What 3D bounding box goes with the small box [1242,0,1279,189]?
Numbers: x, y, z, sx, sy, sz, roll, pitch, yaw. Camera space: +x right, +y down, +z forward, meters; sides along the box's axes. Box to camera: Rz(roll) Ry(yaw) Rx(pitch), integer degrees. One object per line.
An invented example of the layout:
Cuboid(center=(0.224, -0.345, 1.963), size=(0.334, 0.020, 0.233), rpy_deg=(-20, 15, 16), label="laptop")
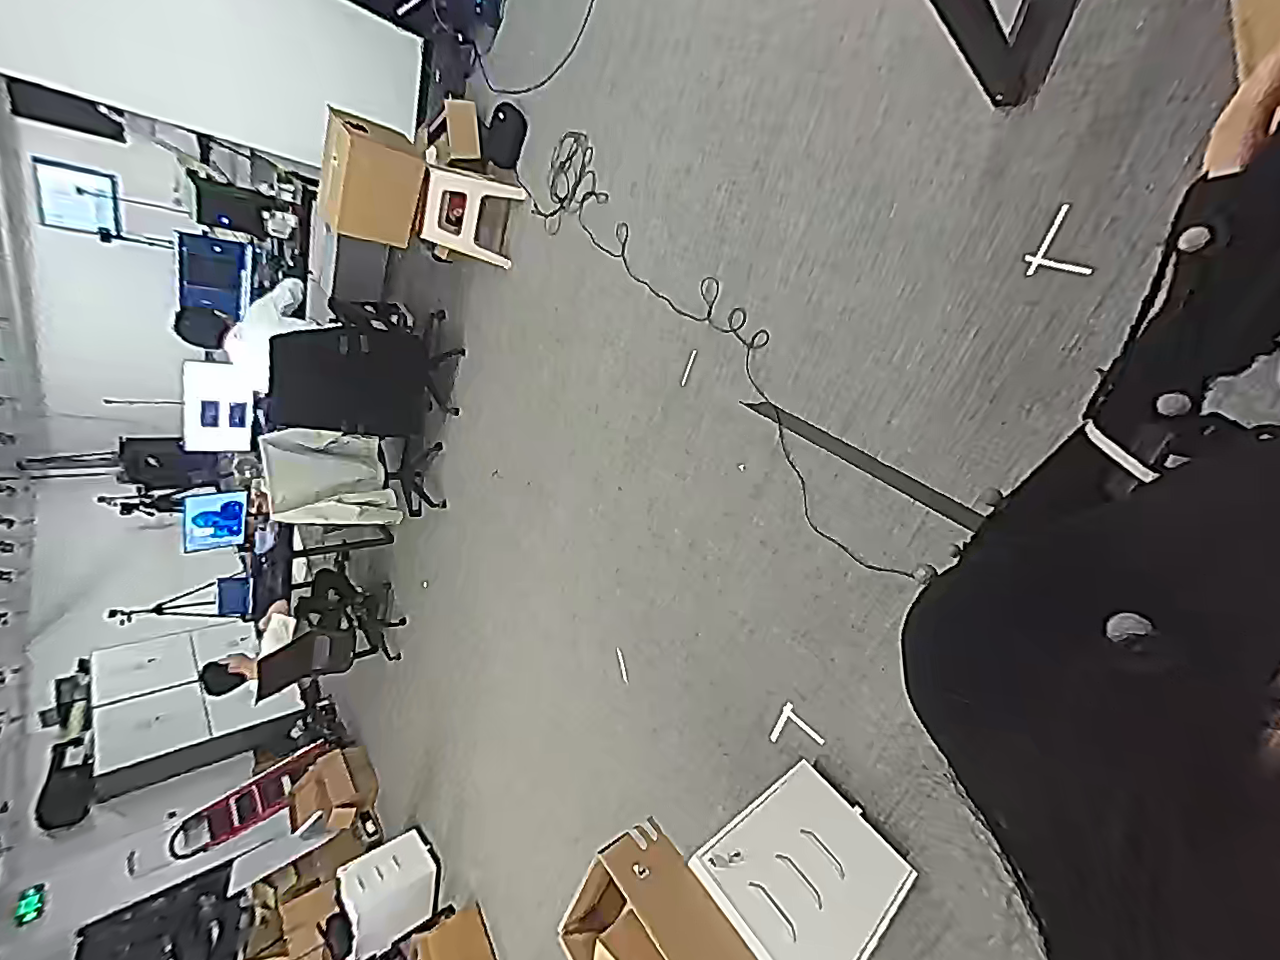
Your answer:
Cuboid(center=(0.403, -0.249, 0.219), size=(0.179, 0.176, 0.168), rpy_deg=(-10, 98, 36), label="small box")
